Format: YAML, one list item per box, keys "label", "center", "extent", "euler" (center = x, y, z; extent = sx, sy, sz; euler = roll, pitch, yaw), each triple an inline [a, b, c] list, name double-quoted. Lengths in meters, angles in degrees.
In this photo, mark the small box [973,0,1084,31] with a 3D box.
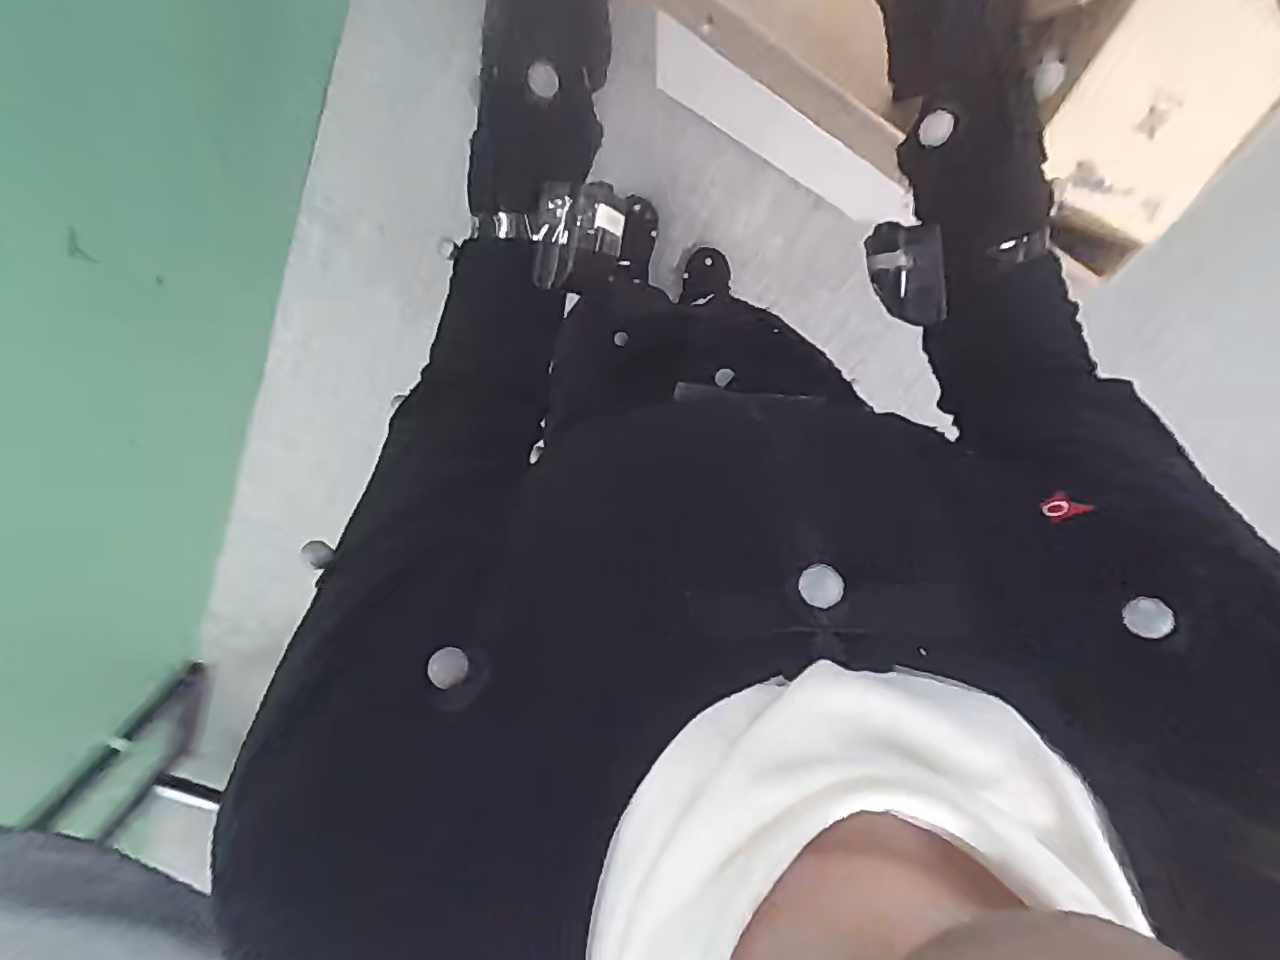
- label: "small box"
  center: [0.391, -0.543, 0.462]
  extent: [0.179, 0.176, 0.168]
  euler: [-34, 112, 25]
